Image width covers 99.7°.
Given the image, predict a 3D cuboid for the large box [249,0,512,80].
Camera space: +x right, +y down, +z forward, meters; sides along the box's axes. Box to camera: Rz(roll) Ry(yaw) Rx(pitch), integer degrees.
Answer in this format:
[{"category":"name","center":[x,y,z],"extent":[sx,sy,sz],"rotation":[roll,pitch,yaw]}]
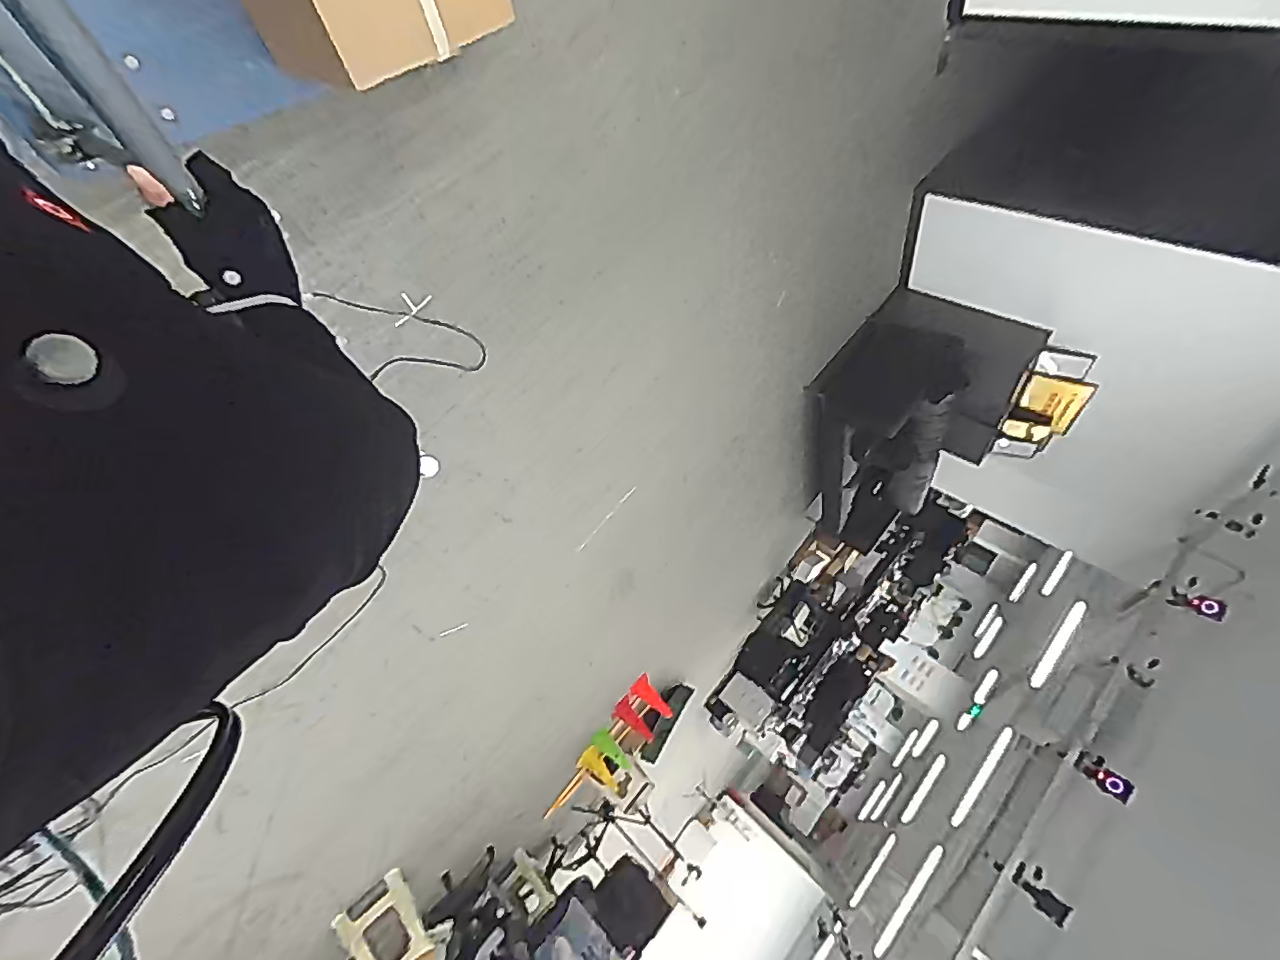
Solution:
[{"category":"large box","center":[-0.456,-0.878,0.779],"extent":[0.320,0.320,0.408],"rotation":[-43,146,-21]}]
